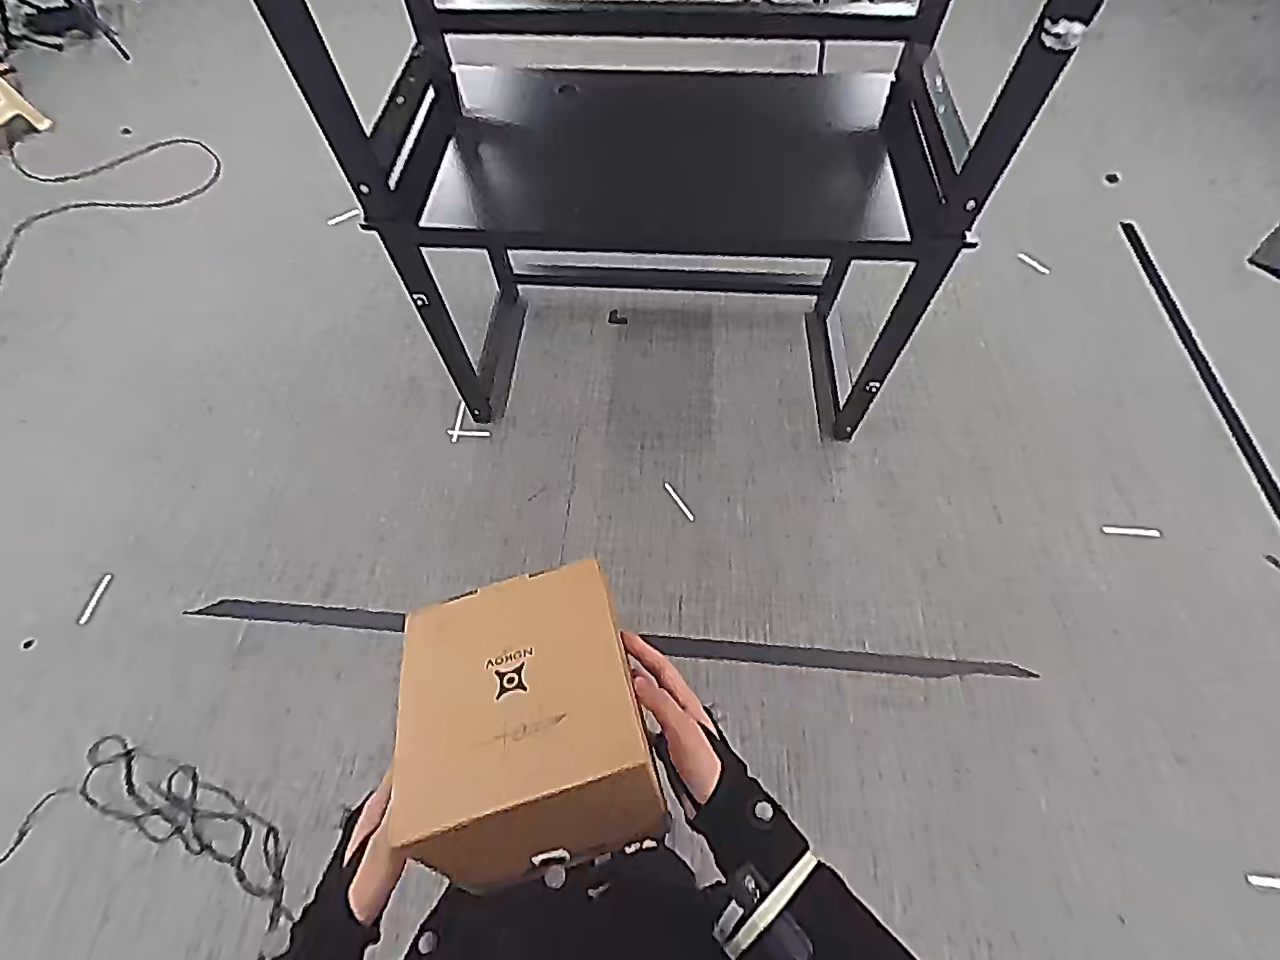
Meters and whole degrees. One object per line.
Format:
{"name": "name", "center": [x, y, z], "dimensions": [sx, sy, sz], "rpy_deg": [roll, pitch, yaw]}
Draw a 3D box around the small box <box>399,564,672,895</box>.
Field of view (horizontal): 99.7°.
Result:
{"name": "small box", "center": [-0.080, 0.206, 0.454], "dimensions": [0.168, 0.176, 0.179], "rpy_deg": [-17, 44, -5]}
